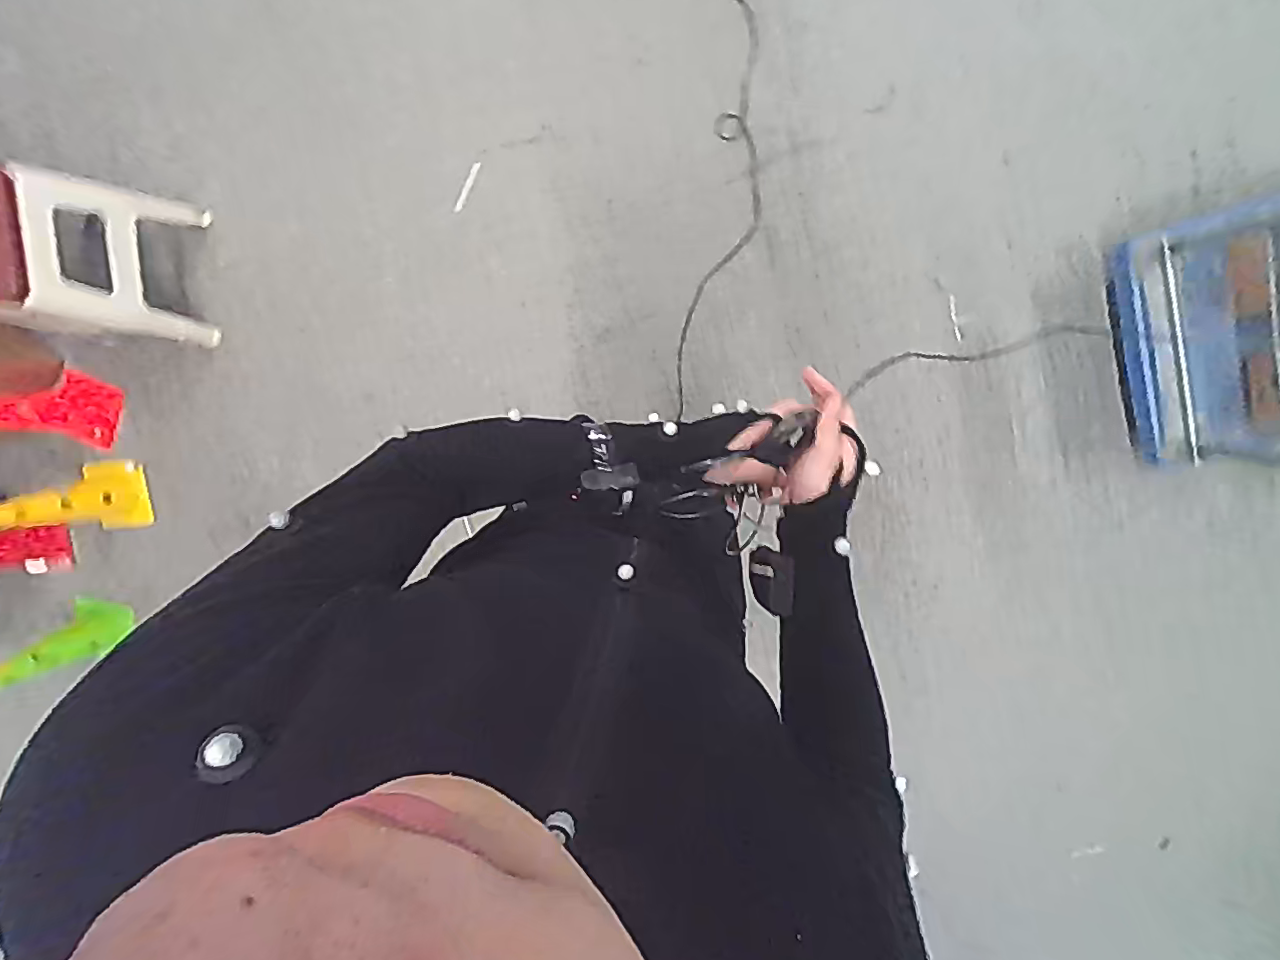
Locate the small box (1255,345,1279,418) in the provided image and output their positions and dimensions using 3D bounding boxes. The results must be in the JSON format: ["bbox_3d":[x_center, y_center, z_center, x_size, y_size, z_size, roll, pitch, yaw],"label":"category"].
[{"bbox_3d":[1.550,-0.235,1.200,0.179,0.176,0.168,-15,98,7],"label":"small box"}]
